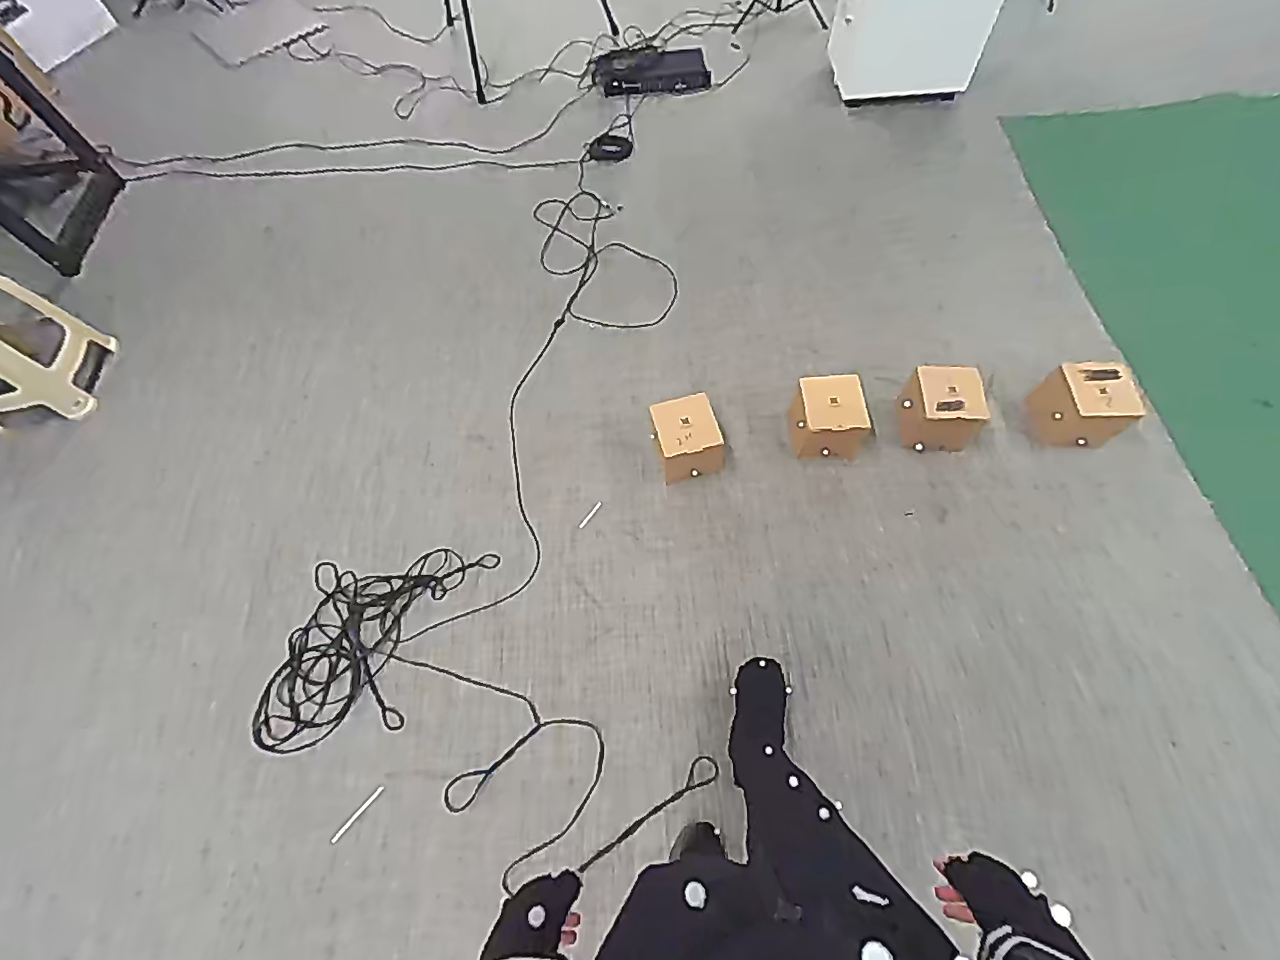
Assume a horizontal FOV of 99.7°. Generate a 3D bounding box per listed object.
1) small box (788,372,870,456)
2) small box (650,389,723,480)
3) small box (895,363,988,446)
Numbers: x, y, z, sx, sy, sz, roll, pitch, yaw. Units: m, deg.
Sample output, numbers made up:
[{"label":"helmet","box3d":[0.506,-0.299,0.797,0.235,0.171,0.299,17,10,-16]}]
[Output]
[{"label":"small box","box3d":[0.529,-0.186,1.539,0.168,0.176,0.179,-3,64,2]},{"label":"small box","box3d":[0.127,-0.126,1.535,0.168,0.176,0.179,-14,63,-3]},{"label":"small box","box3d":[0.842,-0.209,1.529,0.168,0.176,0.179,3,63,4]}]
